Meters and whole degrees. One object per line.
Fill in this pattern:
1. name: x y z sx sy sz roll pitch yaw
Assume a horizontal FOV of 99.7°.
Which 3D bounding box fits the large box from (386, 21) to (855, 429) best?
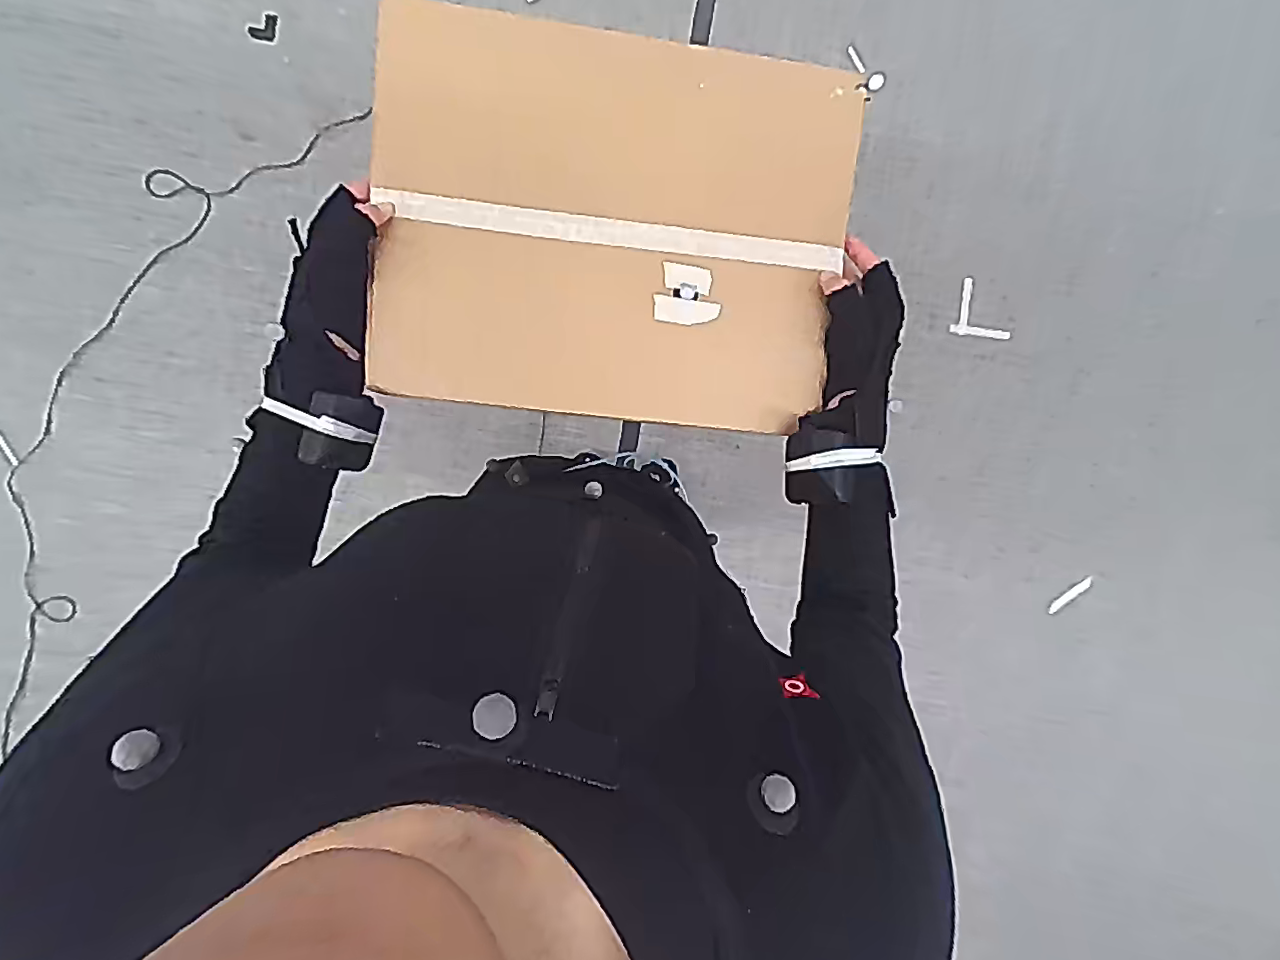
1. large box: -0.032 -0.232 0.625 0.408 0.320 0.320 5 98 -6
